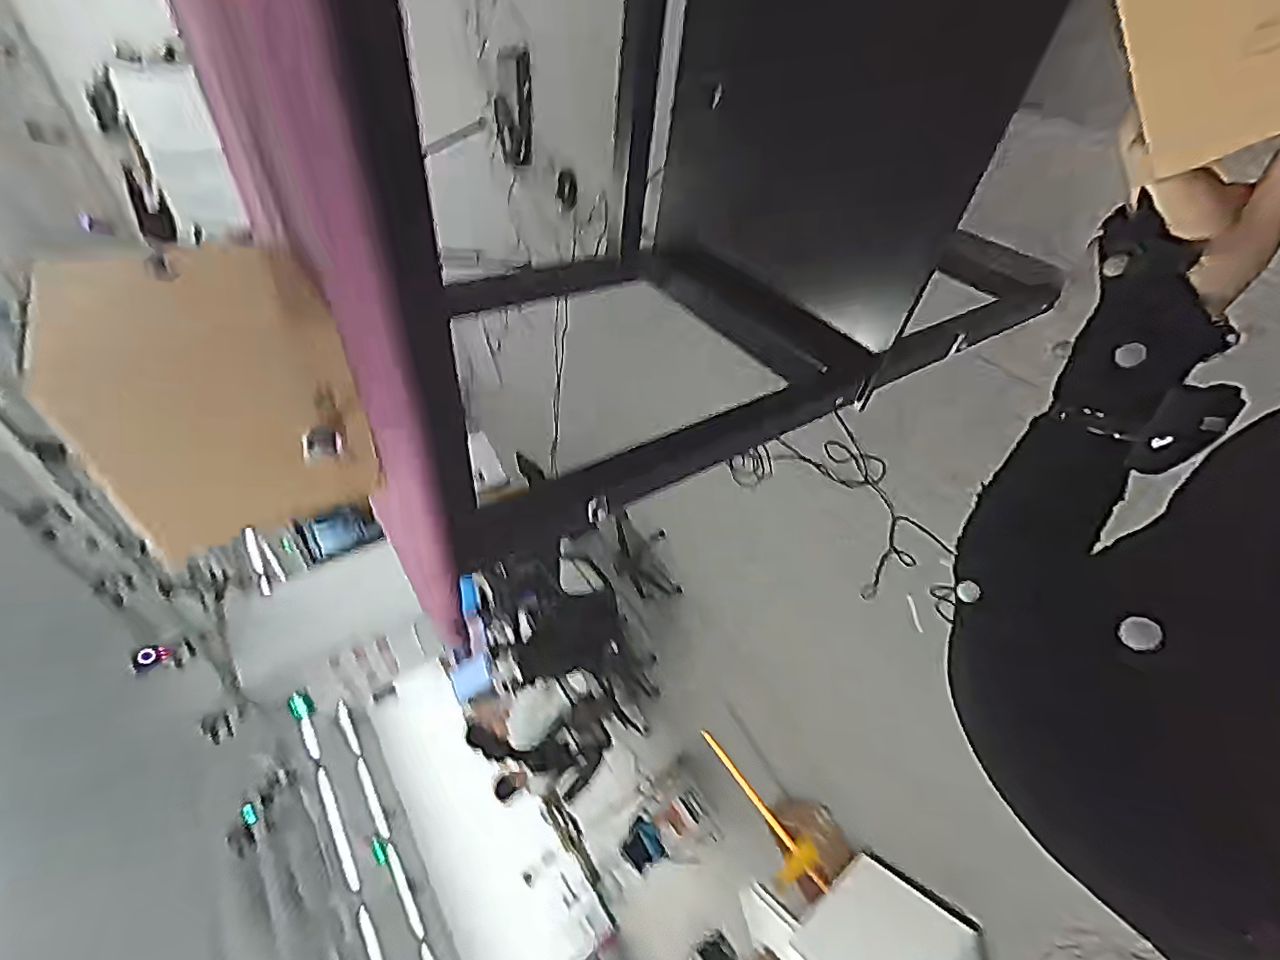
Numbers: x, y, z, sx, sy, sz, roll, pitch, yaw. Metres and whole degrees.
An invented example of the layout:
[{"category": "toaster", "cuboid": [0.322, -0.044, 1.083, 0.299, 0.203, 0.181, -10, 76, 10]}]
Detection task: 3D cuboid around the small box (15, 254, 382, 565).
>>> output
[{"category": "small box", "cuboid": [-0.334, -0.070, 0.440, 0.179, 0.176, 0.168, 43, 145, 35]}]
